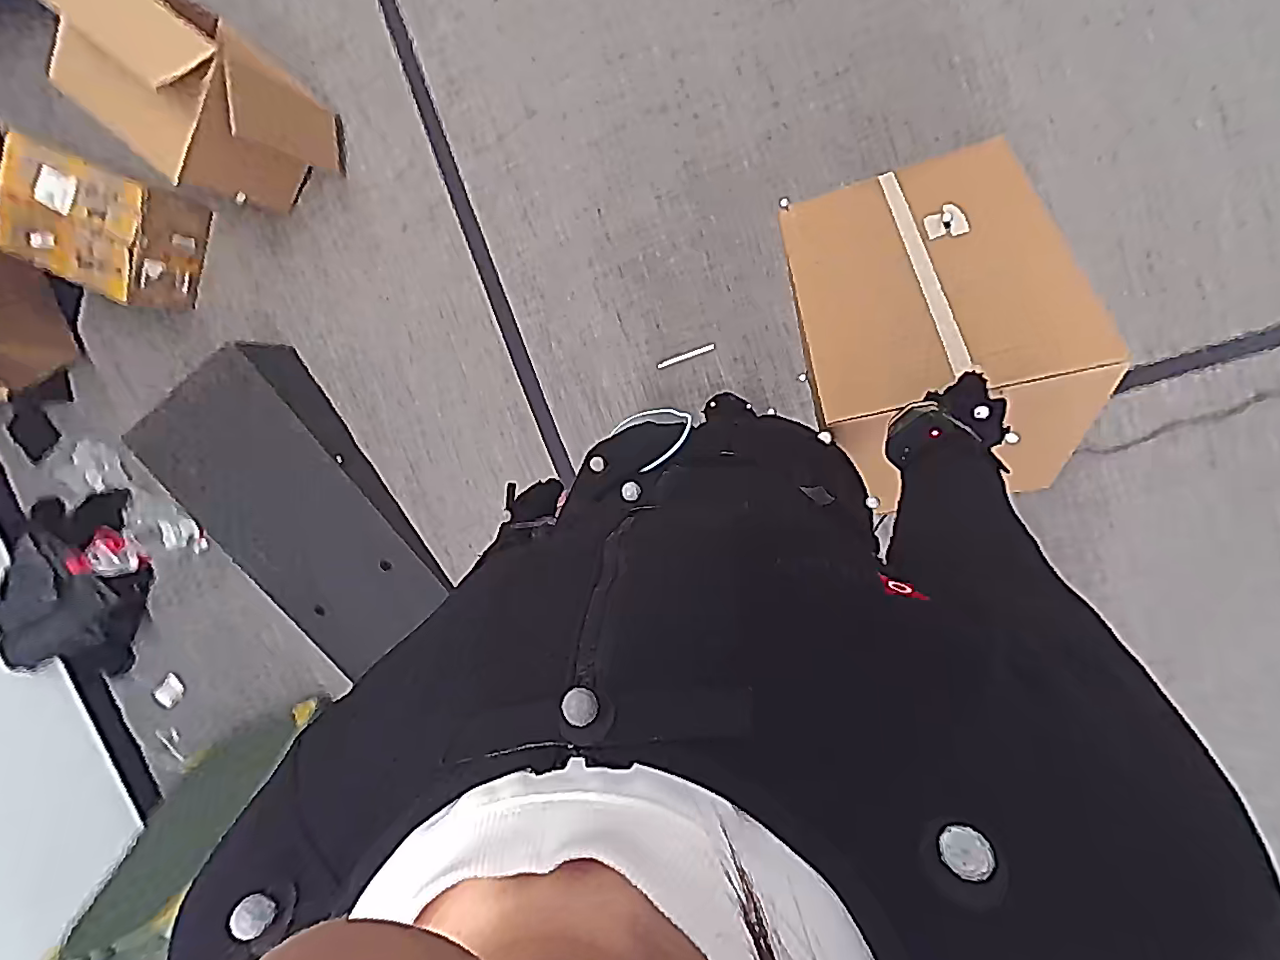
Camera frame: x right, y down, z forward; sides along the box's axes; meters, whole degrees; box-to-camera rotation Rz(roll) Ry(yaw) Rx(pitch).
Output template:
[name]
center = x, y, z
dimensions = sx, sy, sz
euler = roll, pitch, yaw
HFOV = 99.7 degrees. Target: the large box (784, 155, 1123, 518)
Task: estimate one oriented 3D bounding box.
[large box]
center = 0.430, -0.200, 0.845
dimensions = 0.320, 0.320, 0.408
euler = -10, 59, 16
